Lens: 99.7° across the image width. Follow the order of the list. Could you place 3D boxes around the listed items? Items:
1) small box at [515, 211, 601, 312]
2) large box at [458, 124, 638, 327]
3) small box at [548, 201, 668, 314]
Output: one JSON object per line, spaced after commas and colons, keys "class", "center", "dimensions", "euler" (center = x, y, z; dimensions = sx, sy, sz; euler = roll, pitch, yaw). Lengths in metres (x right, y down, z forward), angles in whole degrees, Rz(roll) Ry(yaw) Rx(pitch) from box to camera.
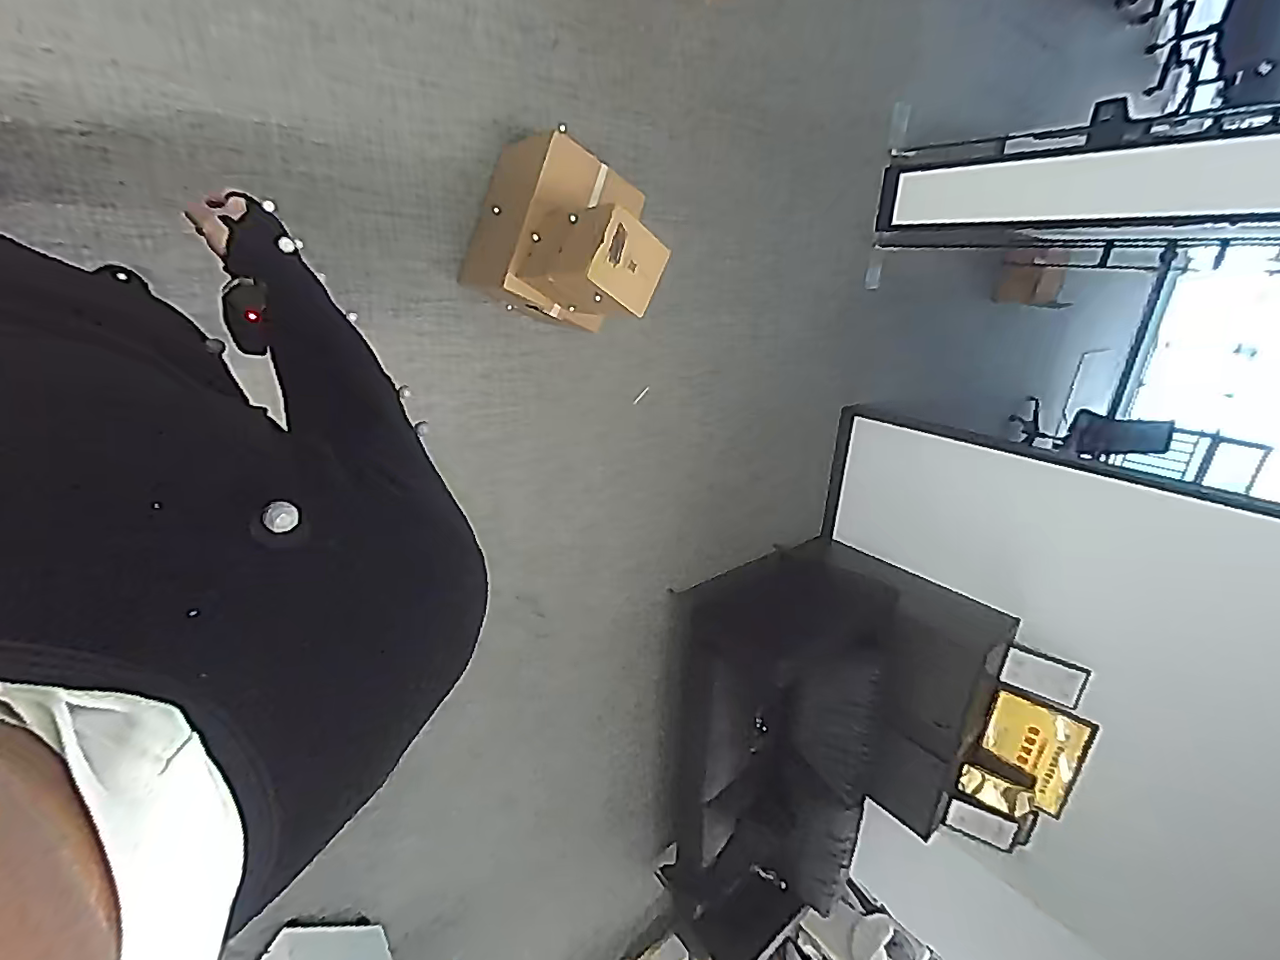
{"class": "small box", "center": [-0.174, -0.538, 1.336], "dimensions": [0.179, 0.176, 0.168], "euler": [24, 92, -43]}
{"class": "large box", "center": [-0.268, -0.691, 1.529], "dimensions": [0.320, 0.320, 0.408], "euler": [14, 98, -45]}
{"class": "small box", "center": [-0.076, -0.492, 1.213], "dimensions": [0.179, 0.176, 0.168], "euler": [24, 91, -44]}
